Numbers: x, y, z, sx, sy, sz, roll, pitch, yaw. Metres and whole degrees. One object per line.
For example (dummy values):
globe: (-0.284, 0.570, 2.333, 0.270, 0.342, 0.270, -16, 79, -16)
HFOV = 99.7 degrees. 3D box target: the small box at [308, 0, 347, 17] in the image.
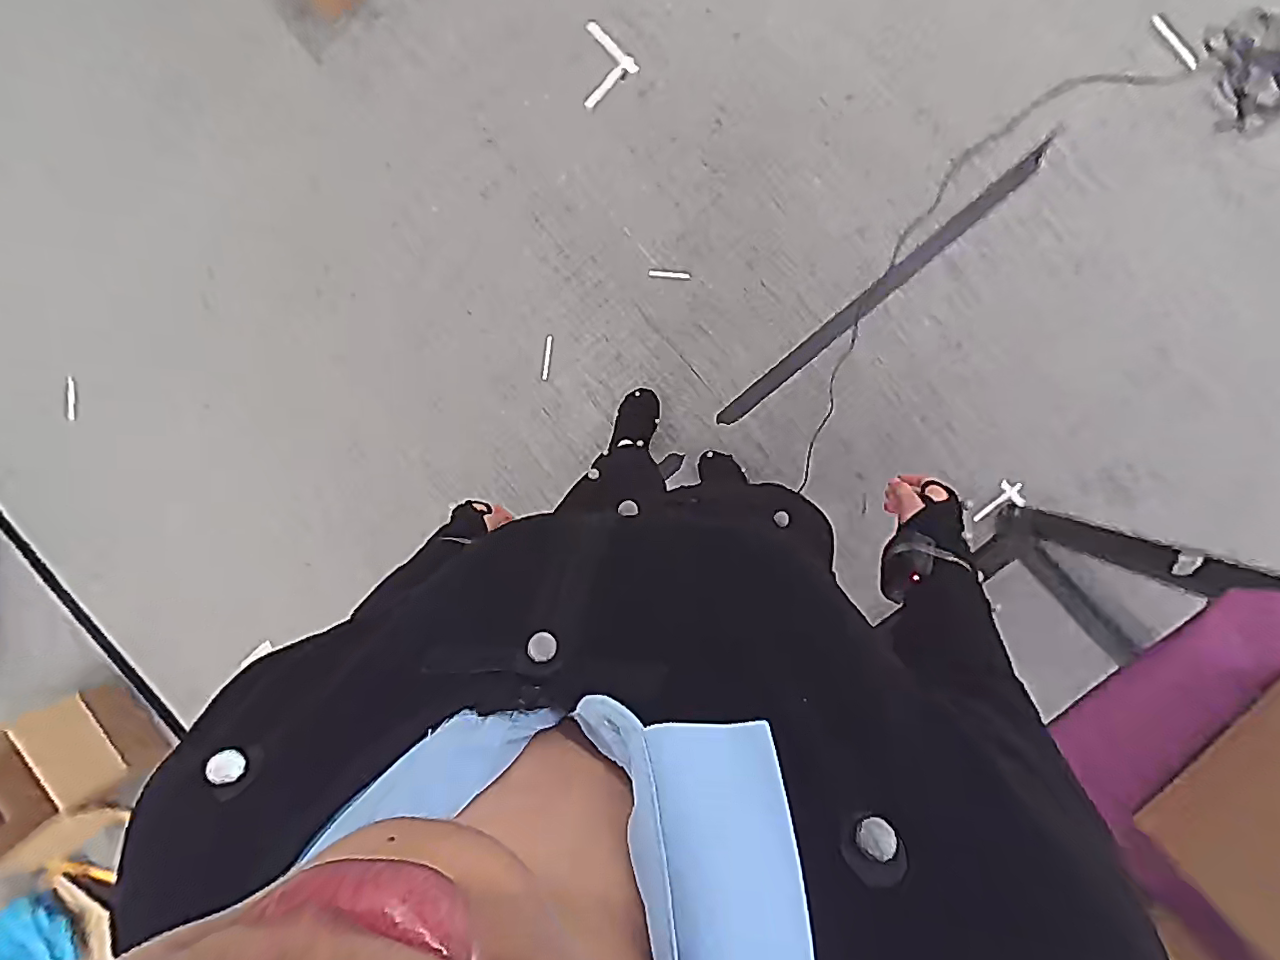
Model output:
small box: (-0.849, -1.348, 1.381, 0.168, 0.176, 0.179, -43, 88, 10)
